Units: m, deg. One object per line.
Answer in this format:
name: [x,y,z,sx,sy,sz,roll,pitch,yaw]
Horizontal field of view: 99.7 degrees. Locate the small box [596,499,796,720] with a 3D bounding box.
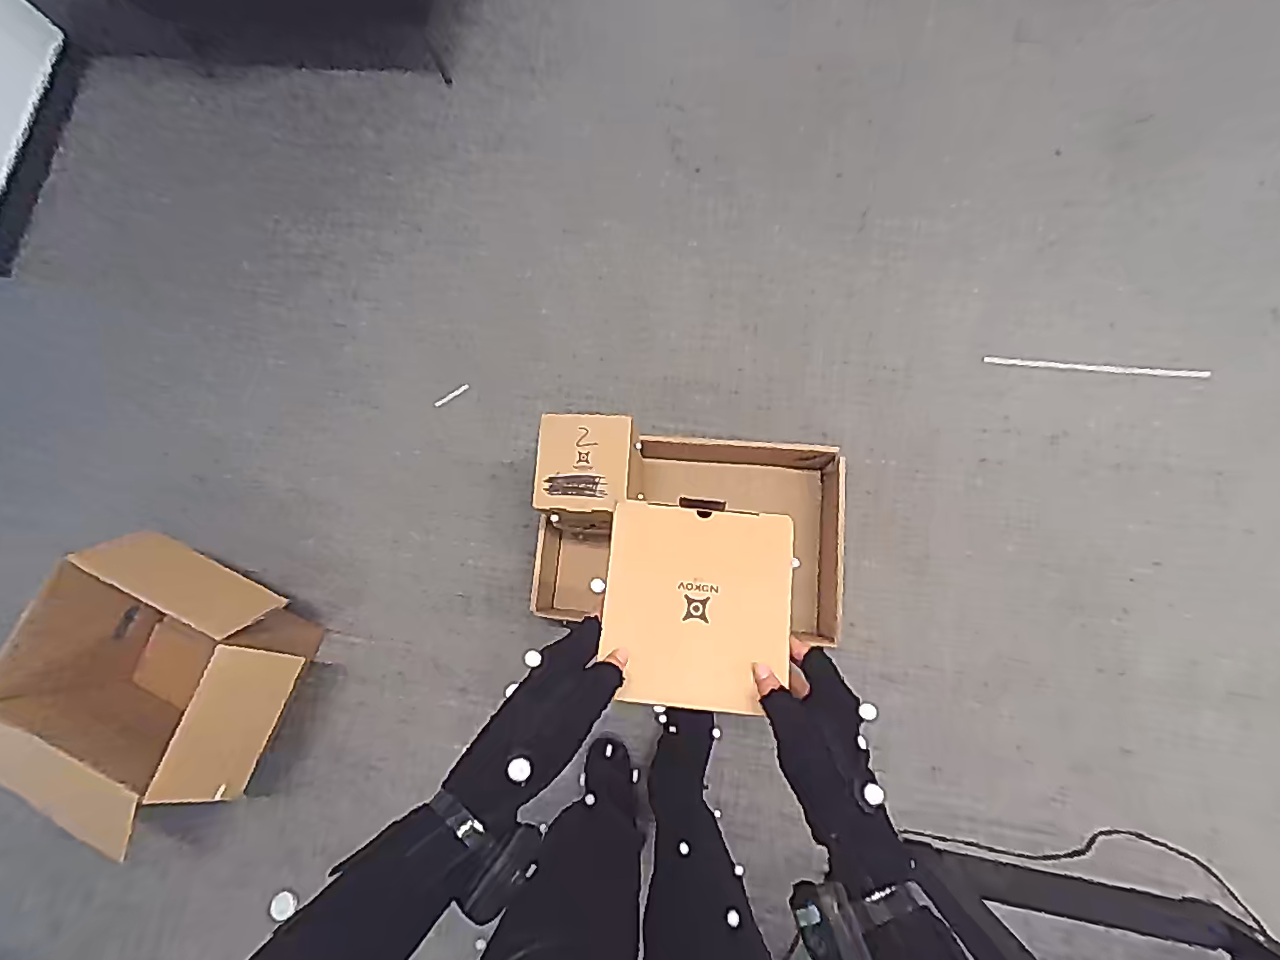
small box: [0.054,0.130,0.553,0.168,0.176,0.179,6,74,2]
